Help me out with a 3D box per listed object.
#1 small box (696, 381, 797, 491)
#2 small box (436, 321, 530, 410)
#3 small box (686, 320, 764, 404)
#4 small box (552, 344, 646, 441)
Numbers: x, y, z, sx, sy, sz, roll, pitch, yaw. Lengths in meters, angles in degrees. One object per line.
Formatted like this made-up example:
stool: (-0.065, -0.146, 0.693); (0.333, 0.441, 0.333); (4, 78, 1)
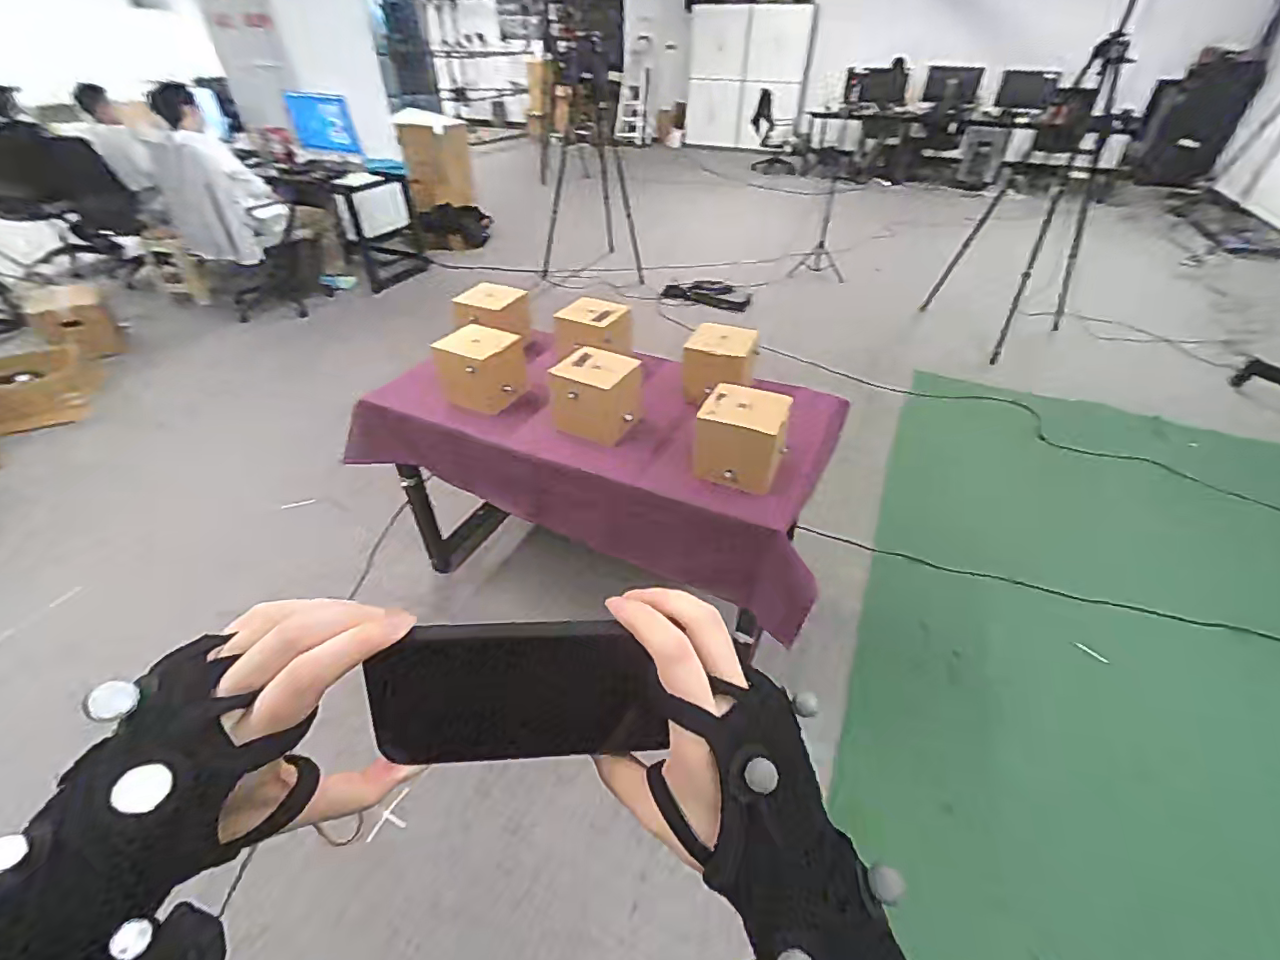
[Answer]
small box: (0.239, -0.097, 1.230); (0.179, 0.176, 0.168); (17, 42, 19)
small box: (-0.423, -0.314, 1.487); (0.179, 0.176, 0.168); (20, 43, 20)
small box: (0.231, -0.319, 1.495); (0.168, 0.176, 0.179); (16, 43, 18)
small box: (-0.101, -0.221, 1.377); (0.179, 0.176, 0.168); (21, 44, 22)
